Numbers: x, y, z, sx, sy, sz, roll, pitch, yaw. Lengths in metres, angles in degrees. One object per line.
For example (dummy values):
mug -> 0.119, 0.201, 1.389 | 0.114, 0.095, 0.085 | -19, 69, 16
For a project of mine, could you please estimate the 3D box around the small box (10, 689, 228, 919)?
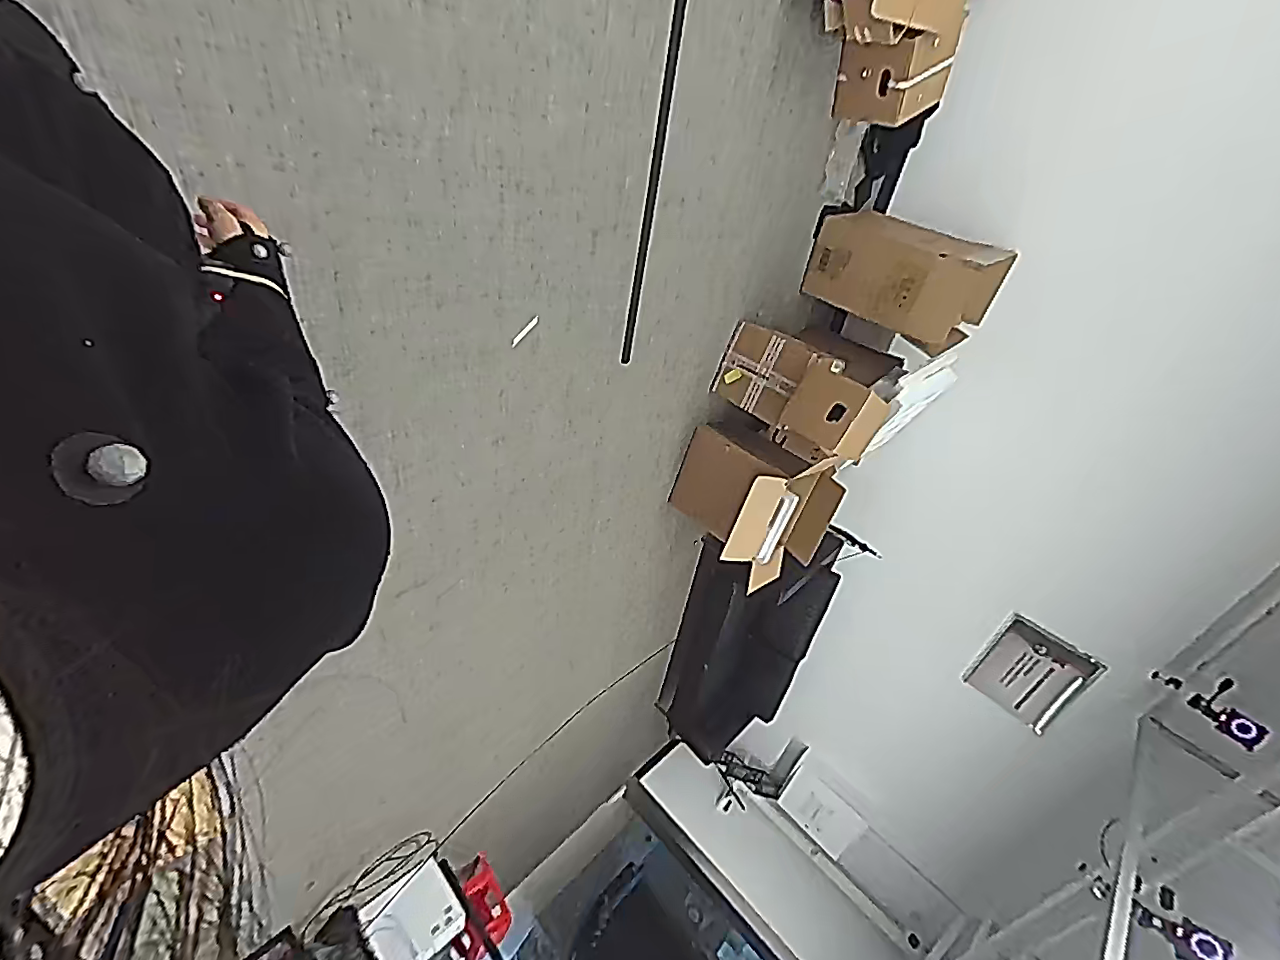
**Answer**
small box -> -0.685, 0.410, 0.719 | 0.168, 0.176, 0.179 | -20, 134, -43
